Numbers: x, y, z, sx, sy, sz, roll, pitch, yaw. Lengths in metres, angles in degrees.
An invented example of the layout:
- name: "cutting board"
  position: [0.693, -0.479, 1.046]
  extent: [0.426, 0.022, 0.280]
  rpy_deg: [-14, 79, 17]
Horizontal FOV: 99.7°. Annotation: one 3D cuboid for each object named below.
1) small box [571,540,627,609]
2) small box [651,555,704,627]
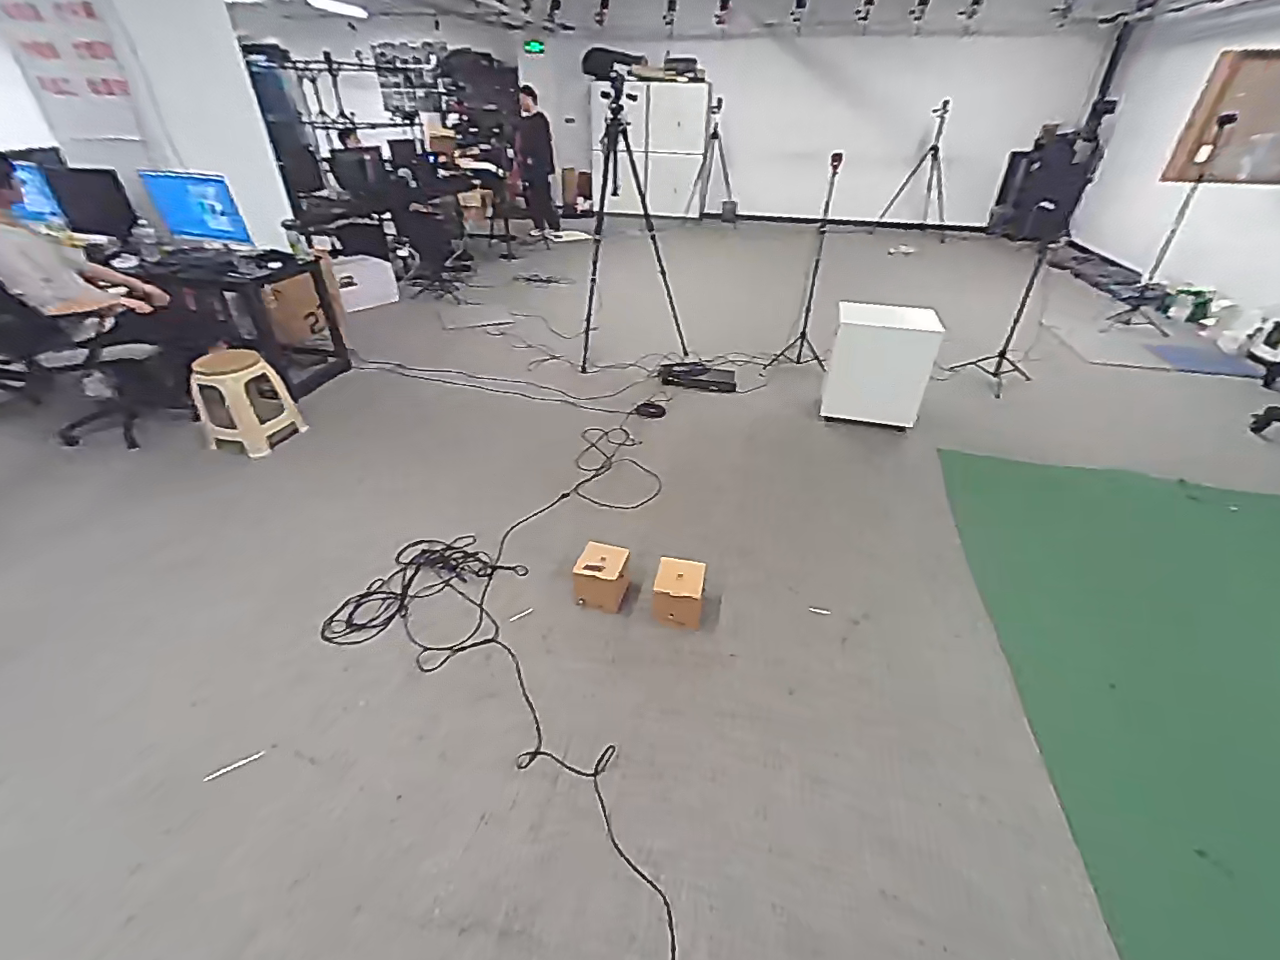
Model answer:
- name: "small box"
  position: [-0.146, 0.355, 2.020]
  extent: [0.168, 0.176, 0.179]
  rpy_deg: [10, 35, 13]
- name: "small box"
  position: [0.135, 0.402, 1.960]
  extent: [0.168, 0.176, 0.179]
  rpy_deg: [7, 36, 9]
